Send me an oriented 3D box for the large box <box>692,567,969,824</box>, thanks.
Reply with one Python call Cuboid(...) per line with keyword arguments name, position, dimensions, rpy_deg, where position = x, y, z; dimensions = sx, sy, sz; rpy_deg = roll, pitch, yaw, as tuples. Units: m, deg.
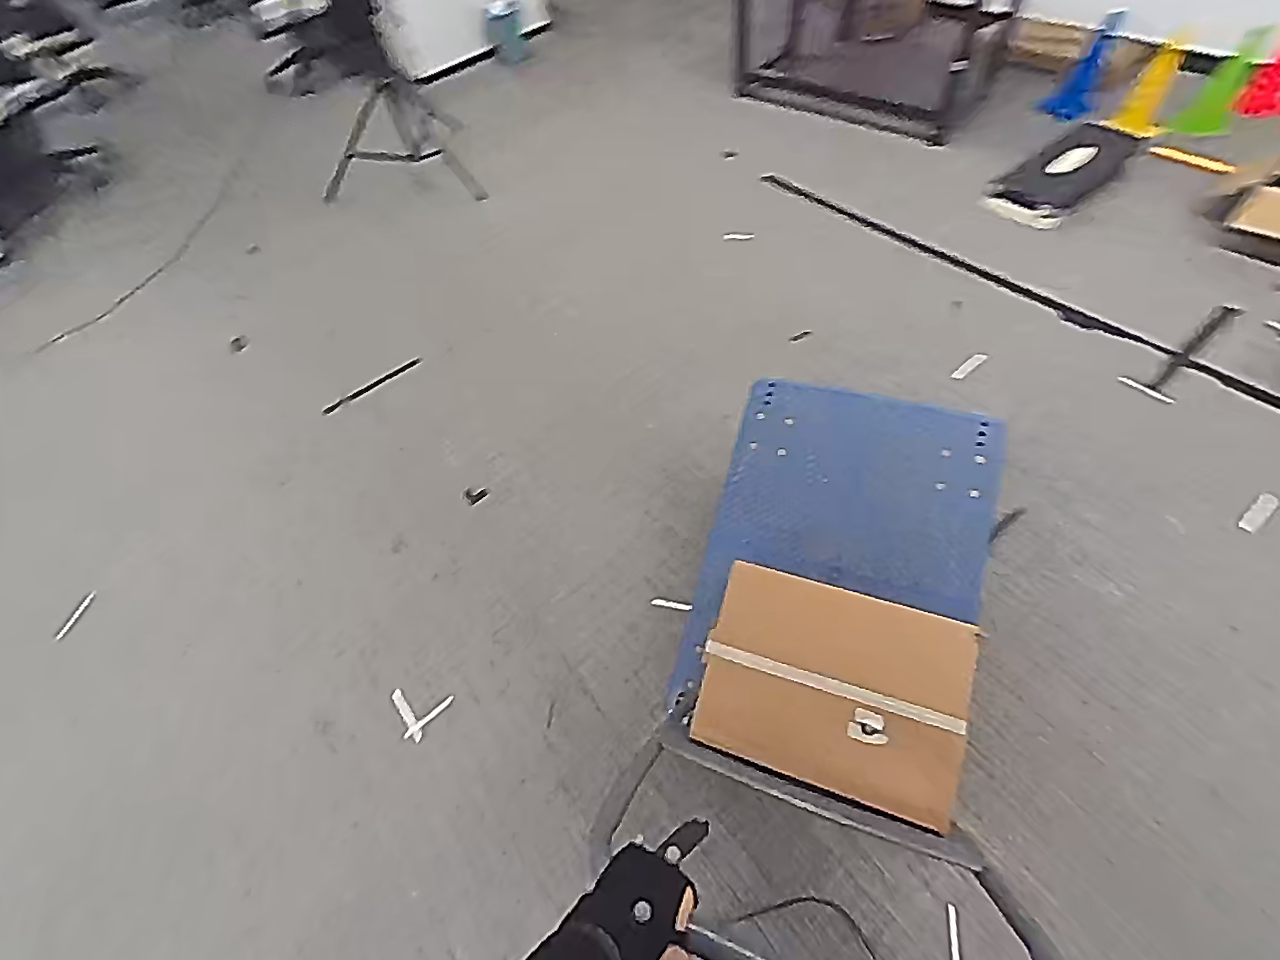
Cuboid(name="large box", position=(0.342, 0.382, 1.046), dimensions=(0.408, 0.320, 0.320), rpy_deg=(14, 79, 15))
